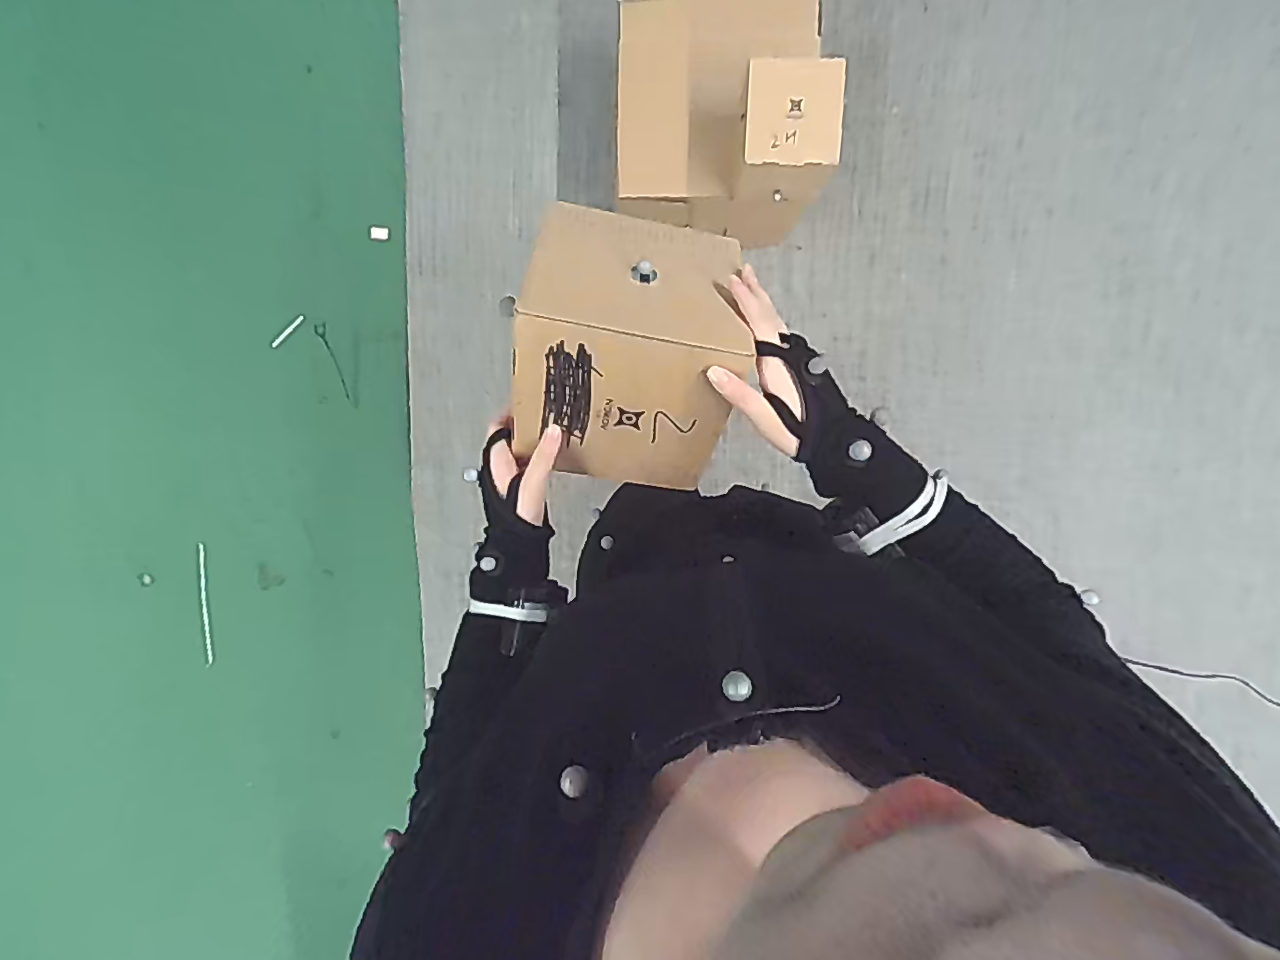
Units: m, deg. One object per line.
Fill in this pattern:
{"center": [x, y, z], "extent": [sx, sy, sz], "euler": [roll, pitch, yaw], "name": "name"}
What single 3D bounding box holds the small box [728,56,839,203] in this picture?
{"center": [0.260, -0.647, 1.013], "extent": [0.168, 0.176, 0.179], "euler": [2, 95, 2], "name": "small box"}
